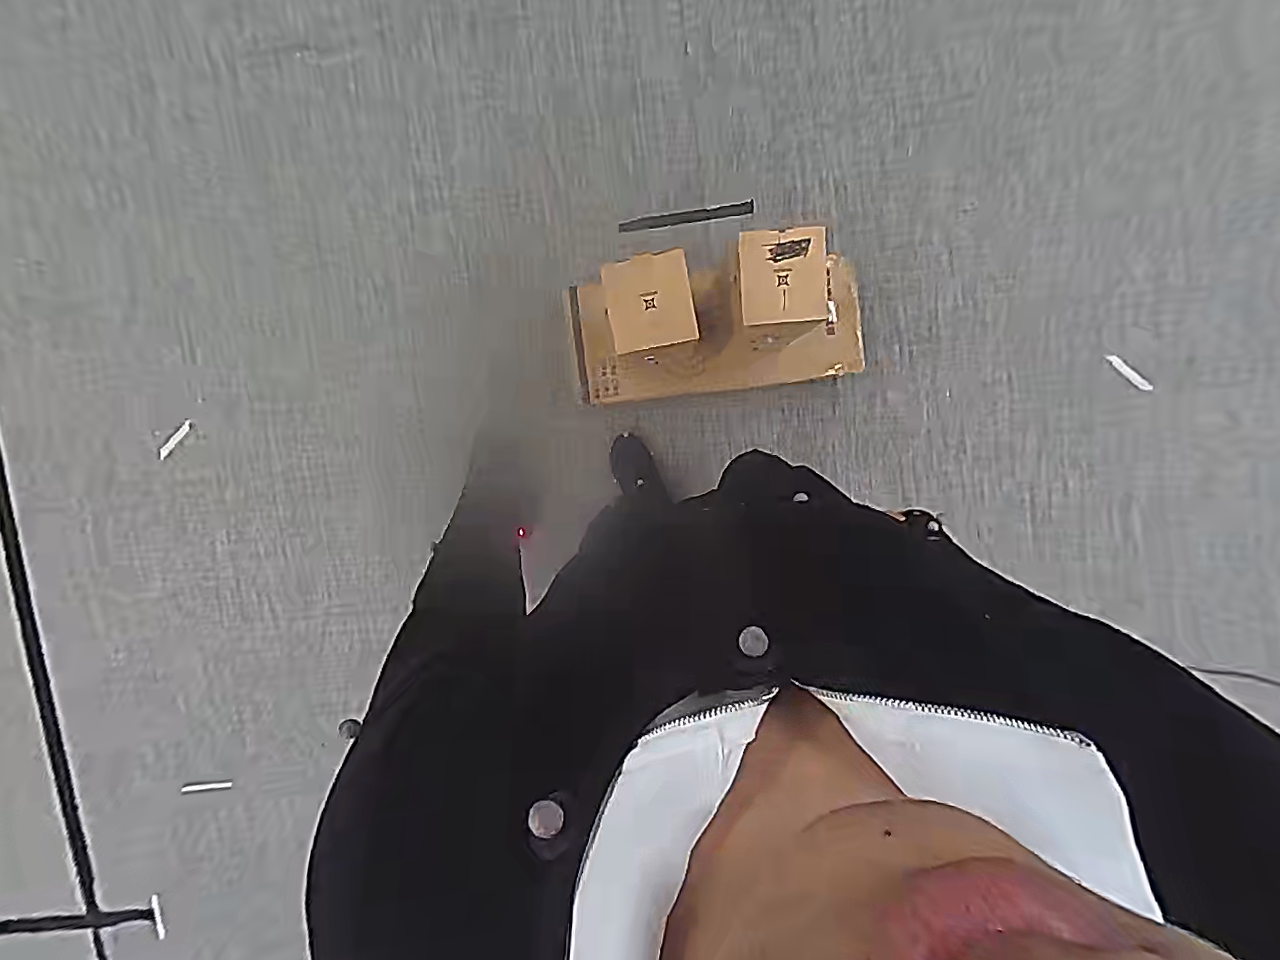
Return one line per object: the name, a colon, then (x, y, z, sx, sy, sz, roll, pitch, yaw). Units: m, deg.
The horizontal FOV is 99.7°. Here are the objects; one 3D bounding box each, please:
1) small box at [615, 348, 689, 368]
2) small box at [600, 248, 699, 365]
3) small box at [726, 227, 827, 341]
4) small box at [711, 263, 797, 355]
small box: (0.020, -0.364, 1.276, 0.168, 0.176, 0.179, -9, 95, 1)
small box: (0.019, -0.348, 1.113, 0.168, 0.176, 0.179, -12, 95, 2)
small box: (0.271, -0.393, 1.106, 0.168, 0.176, 0.179, -4, 95, 2)
small box: (0.265, -0.403, 1.270, 0.168, 0.176, 0.179, -8, 94, 2)
